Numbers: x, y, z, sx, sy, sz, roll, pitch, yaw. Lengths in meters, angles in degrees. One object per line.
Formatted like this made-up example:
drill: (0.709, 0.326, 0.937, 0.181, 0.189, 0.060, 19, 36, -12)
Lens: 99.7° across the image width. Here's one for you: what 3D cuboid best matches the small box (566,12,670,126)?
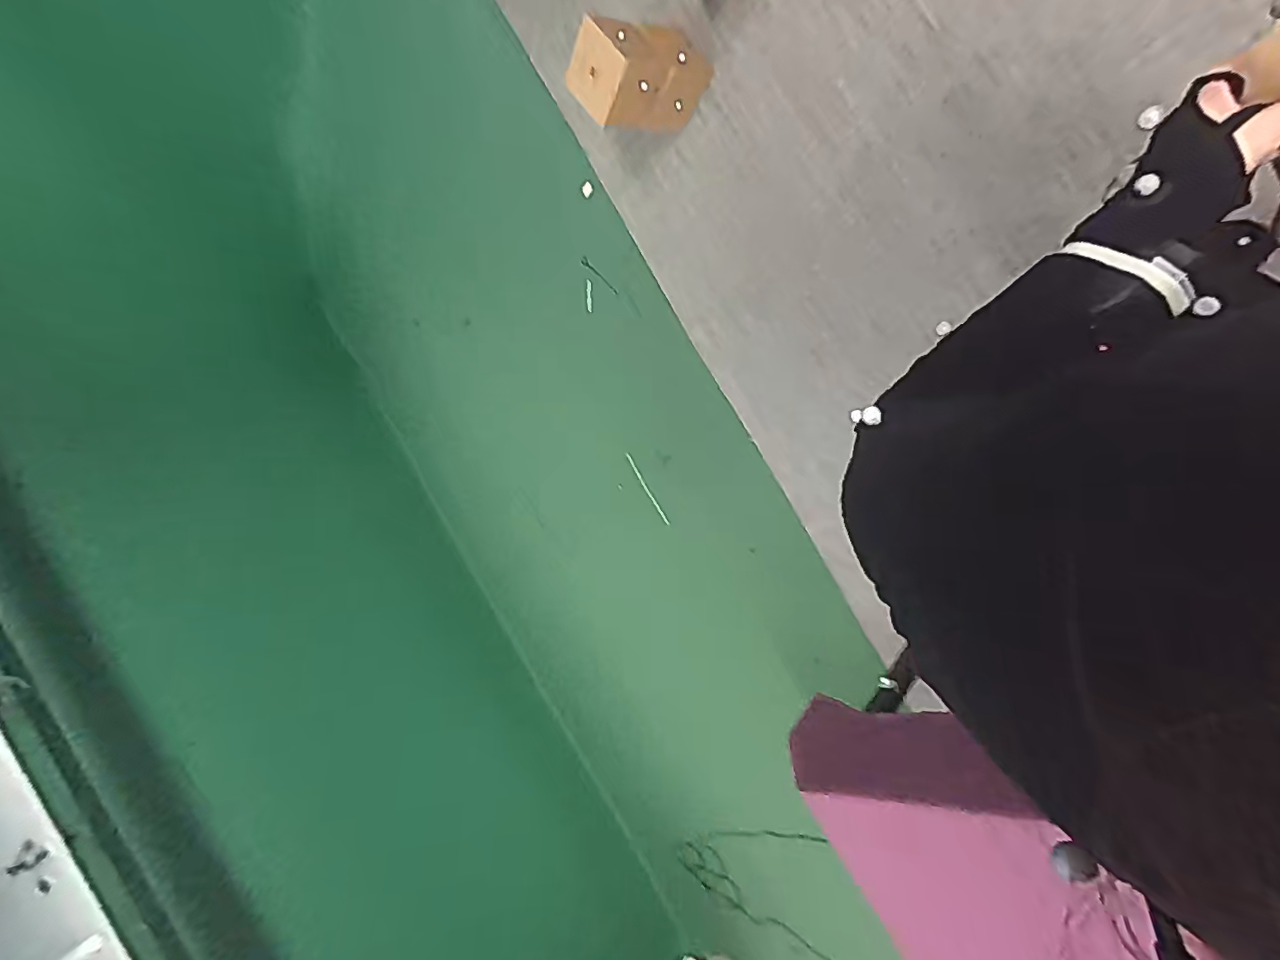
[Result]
small box: (-0.054, -1.047, 1.388, 0.179, 0.176, 0.168, 55, 141, 8)
